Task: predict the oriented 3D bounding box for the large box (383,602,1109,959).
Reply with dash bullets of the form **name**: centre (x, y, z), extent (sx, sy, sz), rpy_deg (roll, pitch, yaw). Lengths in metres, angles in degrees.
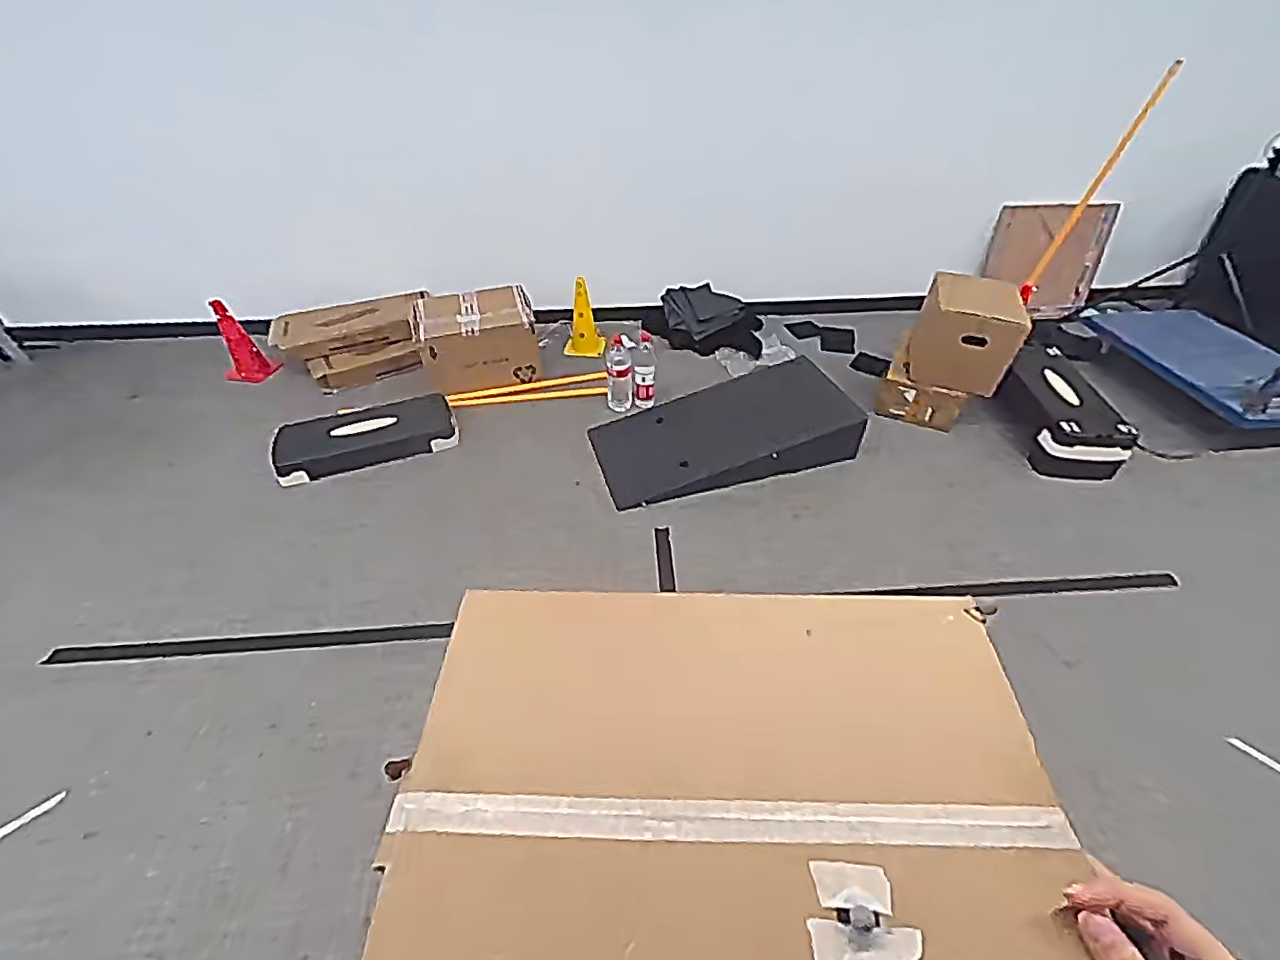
- **large box**: centre (0.058, 0.315, 0.449), extent (0.408, 0.320, 0.320), rpy_deg (0, 49, 1)
